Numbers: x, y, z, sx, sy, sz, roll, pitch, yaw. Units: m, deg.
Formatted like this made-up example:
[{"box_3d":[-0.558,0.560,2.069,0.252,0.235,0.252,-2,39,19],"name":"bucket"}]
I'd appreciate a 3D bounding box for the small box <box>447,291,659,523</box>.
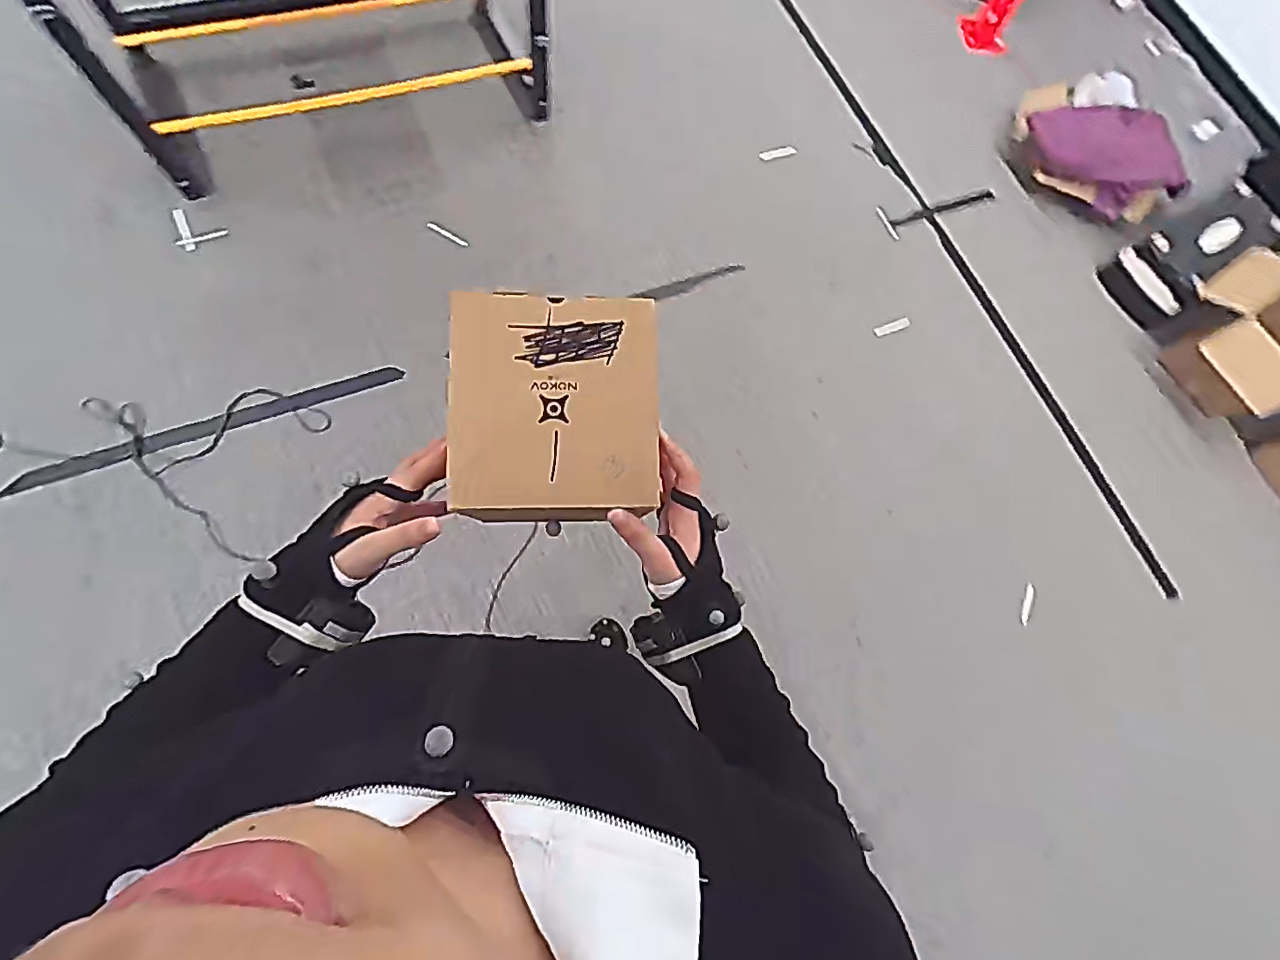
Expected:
[{"box_3d":[-0.077,-0.055,0.508,0.168,0.176,0.179,-1,82,-7],"name":"small box"}]
